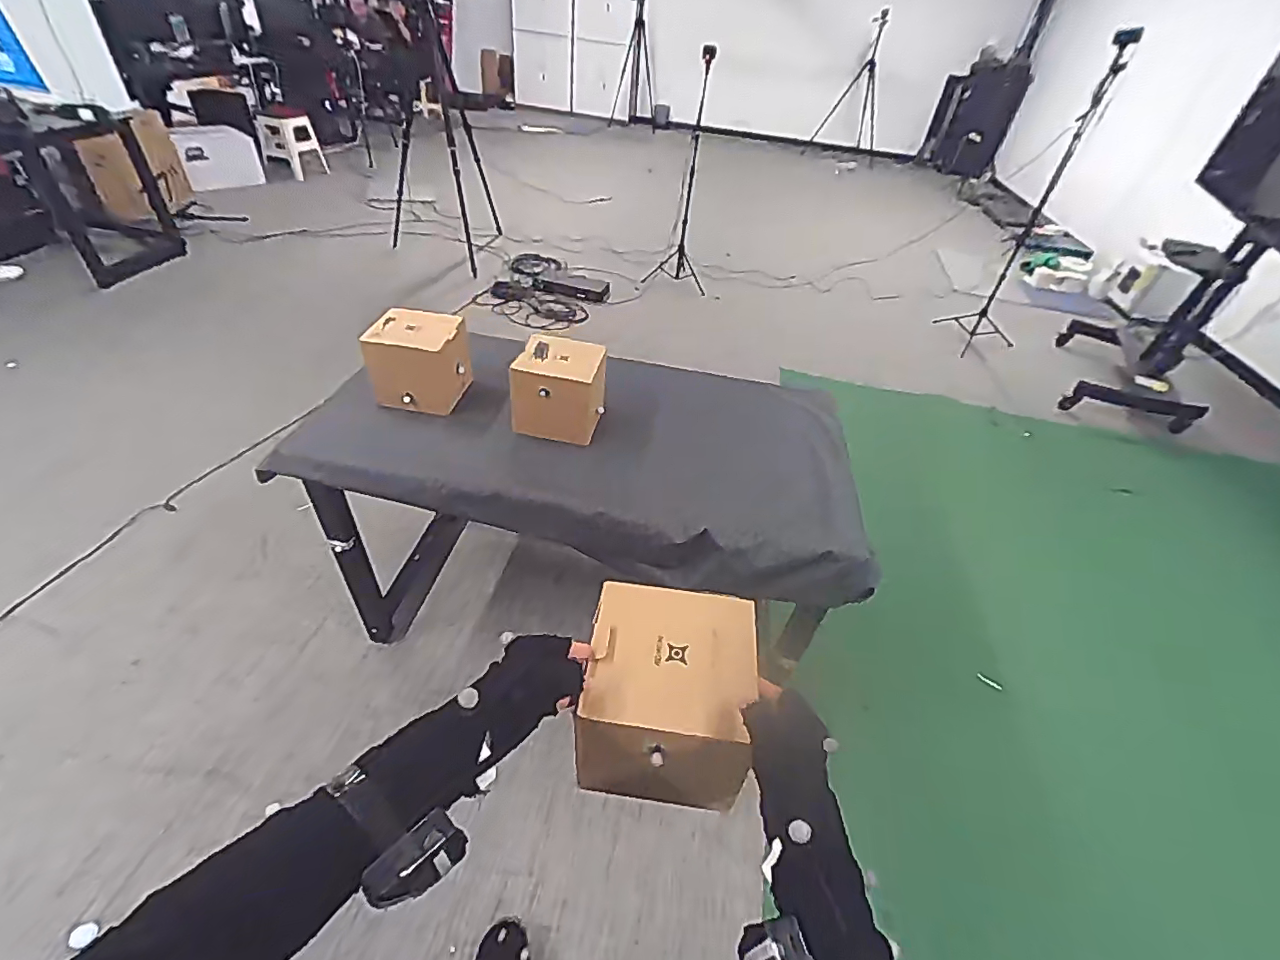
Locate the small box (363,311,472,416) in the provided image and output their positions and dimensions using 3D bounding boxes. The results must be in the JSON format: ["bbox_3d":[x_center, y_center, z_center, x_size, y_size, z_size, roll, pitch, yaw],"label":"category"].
[{"bbox_3d":[-0.502,-0.268,1.254,0.179,0.176,0.168,9,41,1],"label":"small box"}]

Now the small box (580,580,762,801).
[{"bbox_3d":[0.032,0.240,0.617,0.179,0.176,0.168,8,40,2],"label":"small box"}]

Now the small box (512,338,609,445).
[{"bbox_3d":[-0.176,-0.199,1.225,0.179,0.176,0.168,11,42,3],"label":"small box"}]
